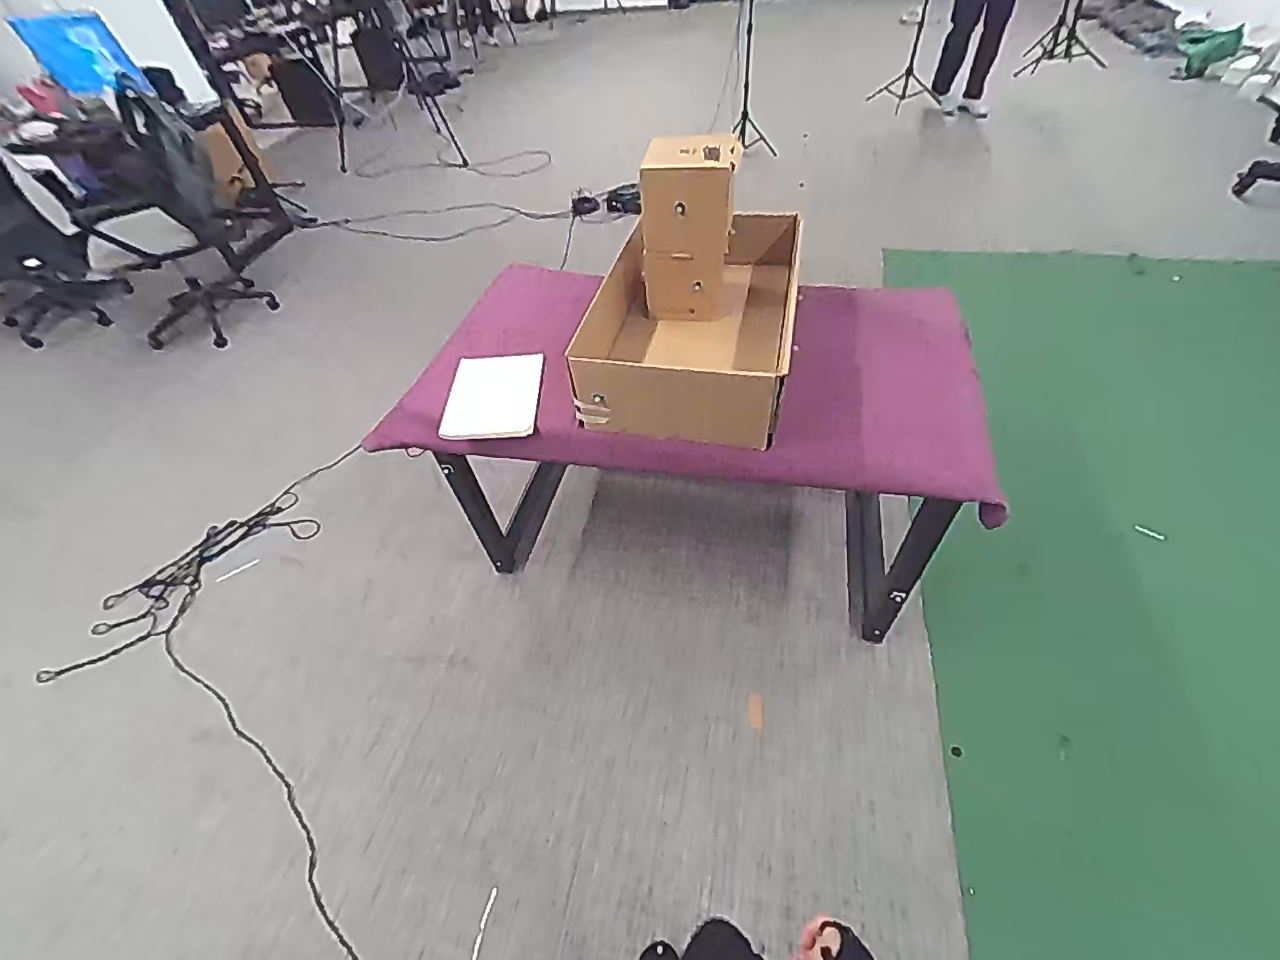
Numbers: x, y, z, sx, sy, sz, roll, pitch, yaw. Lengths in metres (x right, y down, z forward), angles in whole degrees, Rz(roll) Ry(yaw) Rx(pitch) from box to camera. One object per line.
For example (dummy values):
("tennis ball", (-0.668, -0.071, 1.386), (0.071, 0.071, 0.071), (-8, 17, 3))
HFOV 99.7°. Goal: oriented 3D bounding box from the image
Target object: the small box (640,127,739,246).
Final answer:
("small box", (0.105, -0.602, 1.117), (0.179, 0.176, 0.168), (5, 51, 10))
